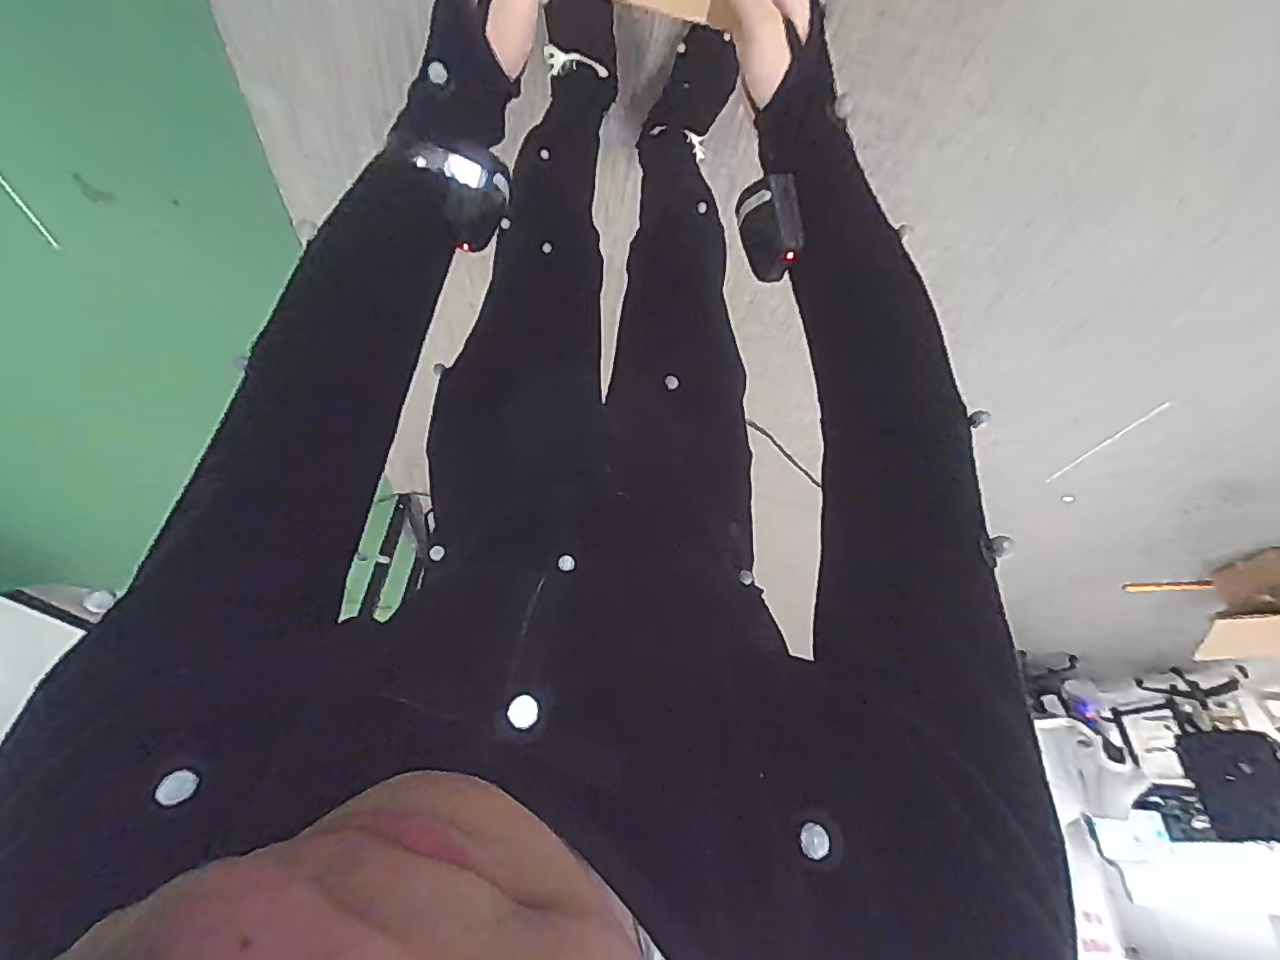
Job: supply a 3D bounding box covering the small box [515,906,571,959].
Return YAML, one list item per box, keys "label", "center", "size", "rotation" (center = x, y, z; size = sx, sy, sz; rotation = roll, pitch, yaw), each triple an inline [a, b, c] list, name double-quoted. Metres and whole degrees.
- label: "small box"
  center: [-0.327, 1.549, 1.818]
  size: [0.168, 0.176, 0.179]
  rotation: [8, 148, -6]
